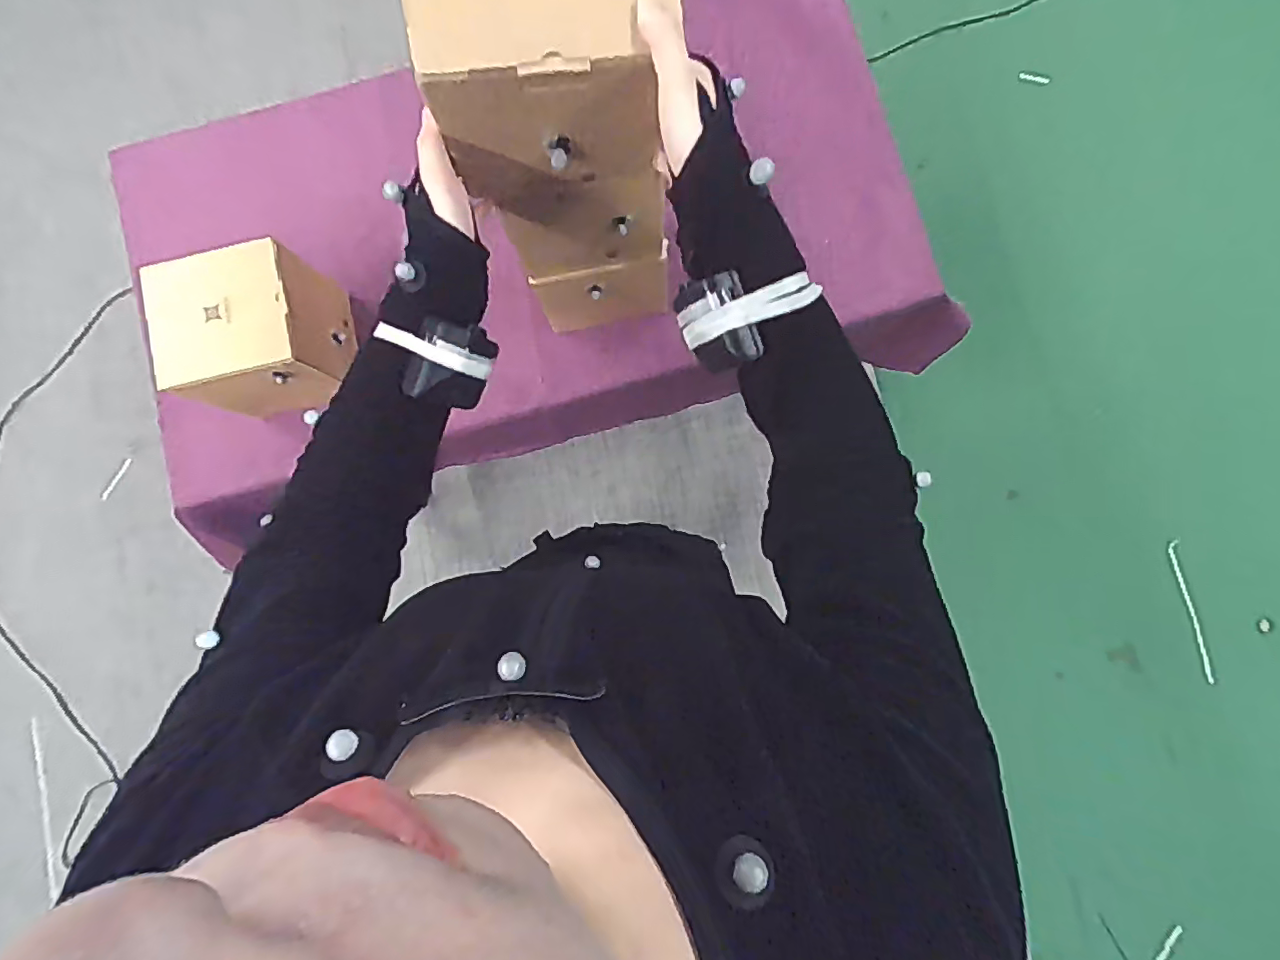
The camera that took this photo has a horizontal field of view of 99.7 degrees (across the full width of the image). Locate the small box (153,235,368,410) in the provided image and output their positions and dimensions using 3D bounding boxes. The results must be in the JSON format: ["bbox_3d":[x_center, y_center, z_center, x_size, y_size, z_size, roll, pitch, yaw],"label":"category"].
[{"bbox_3d":[-0.521,-0.208,0.762,0.179,0.176,0.168,-13,84,1],"label":"small box"}]

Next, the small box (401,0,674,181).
[{"bbox_3d":[-0.074,-0.346,0.404,0.168,0.176,0.179,-9,97,-4],"label":"small box"}]

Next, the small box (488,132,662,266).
[{"bbox_3d":[-0.067,-0.354,0.590,0.168,0.176,0.179,-8,84,1],"label":"small box"}]

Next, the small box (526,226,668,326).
[{"bbox_3d":[-0.058,-0.329,0.751,0.179,0.176,0.168,-9,85,2],"label":"small box"}]
